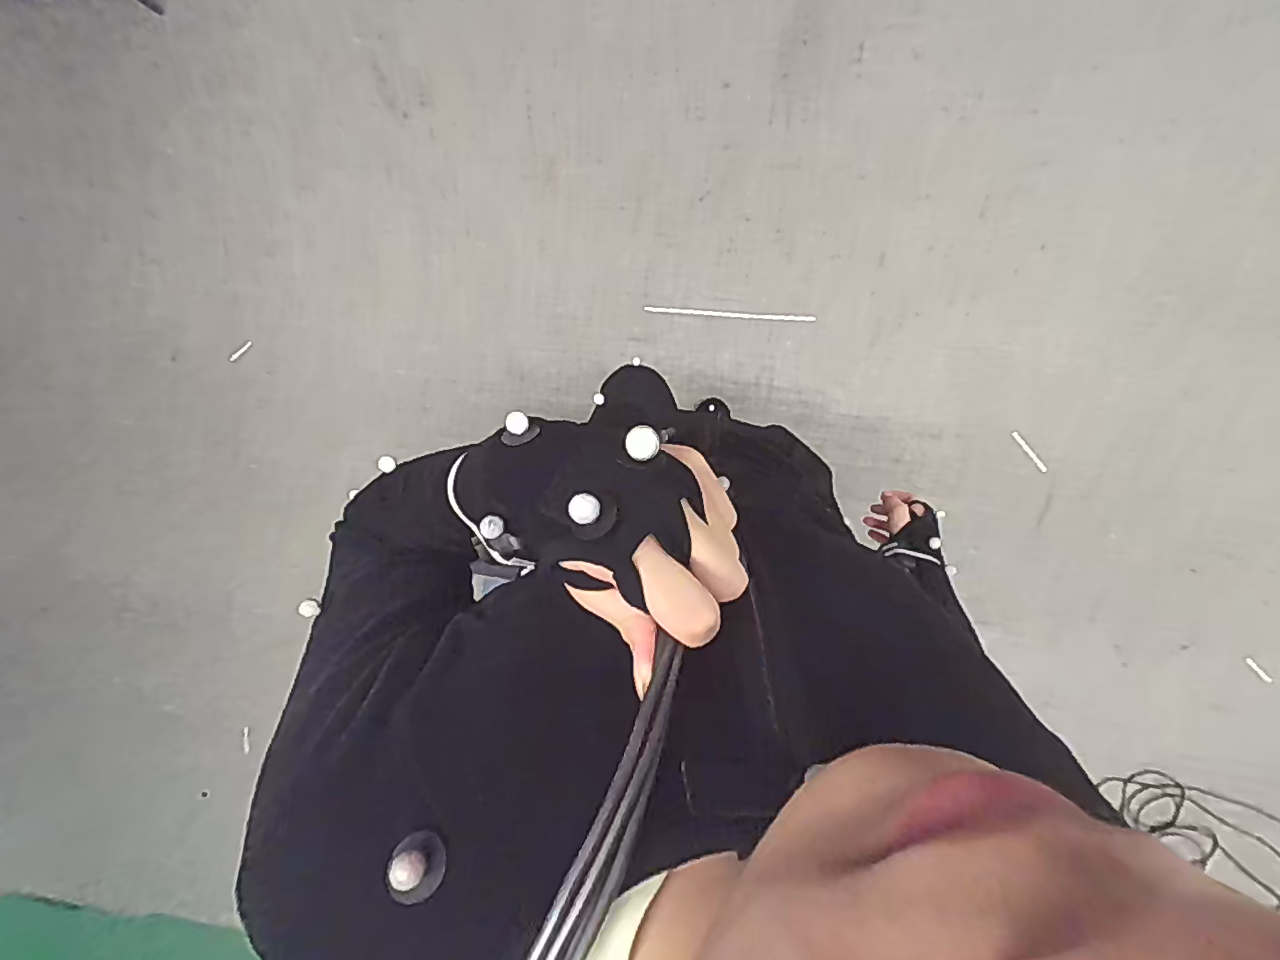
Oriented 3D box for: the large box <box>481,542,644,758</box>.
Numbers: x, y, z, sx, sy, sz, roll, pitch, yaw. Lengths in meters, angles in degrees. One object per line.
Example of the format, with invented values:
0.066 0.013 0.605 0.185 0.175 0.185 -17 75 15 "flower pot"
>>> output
-0.185 0.415 1.406 0.320 0.320 0.408 13 101 5 "large box"
